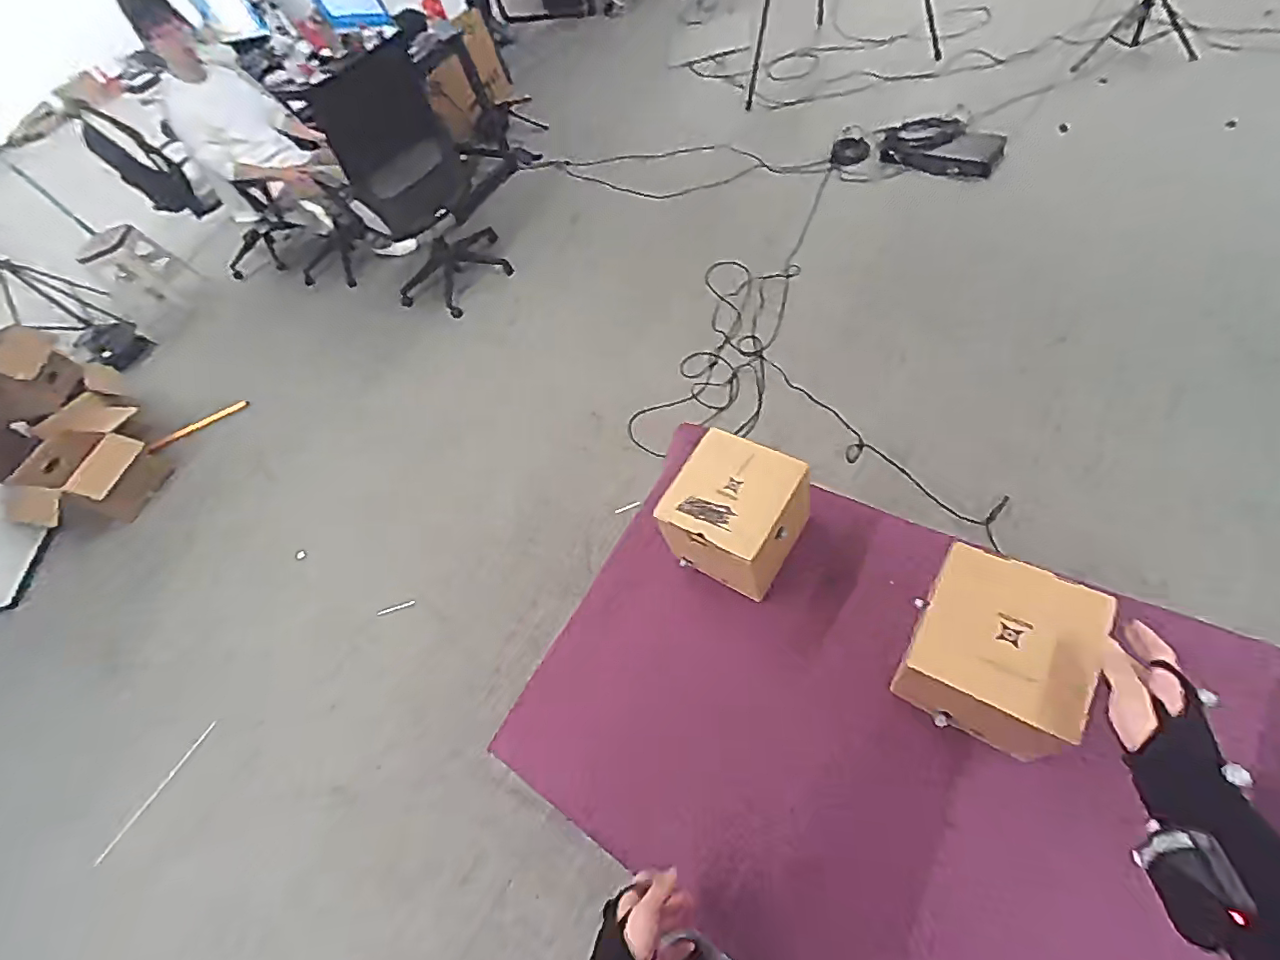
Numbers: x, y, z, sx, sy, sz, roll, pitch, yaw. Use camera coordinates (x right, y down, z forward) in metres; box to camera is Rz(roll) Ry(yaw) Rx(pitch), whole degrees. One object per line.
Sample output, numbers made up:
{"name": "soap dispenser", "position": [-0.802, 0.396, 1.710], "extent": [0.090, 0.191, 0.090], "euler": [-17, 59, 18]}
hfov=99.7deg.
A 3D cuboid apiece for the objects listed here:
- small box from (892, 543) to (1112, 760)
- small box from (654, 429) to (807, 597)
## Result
{"name": "small box", "position": [0.430, 0.214, 0.668], "extent": [0.168, 0.176, 0.179], "euler": [23, 68, 29]}
{"name": "small box", "position": [0.151, 0.057, 0.850], "extent": [0.168, 0.176, 0.179], "euler": [26, 69, 29]}
